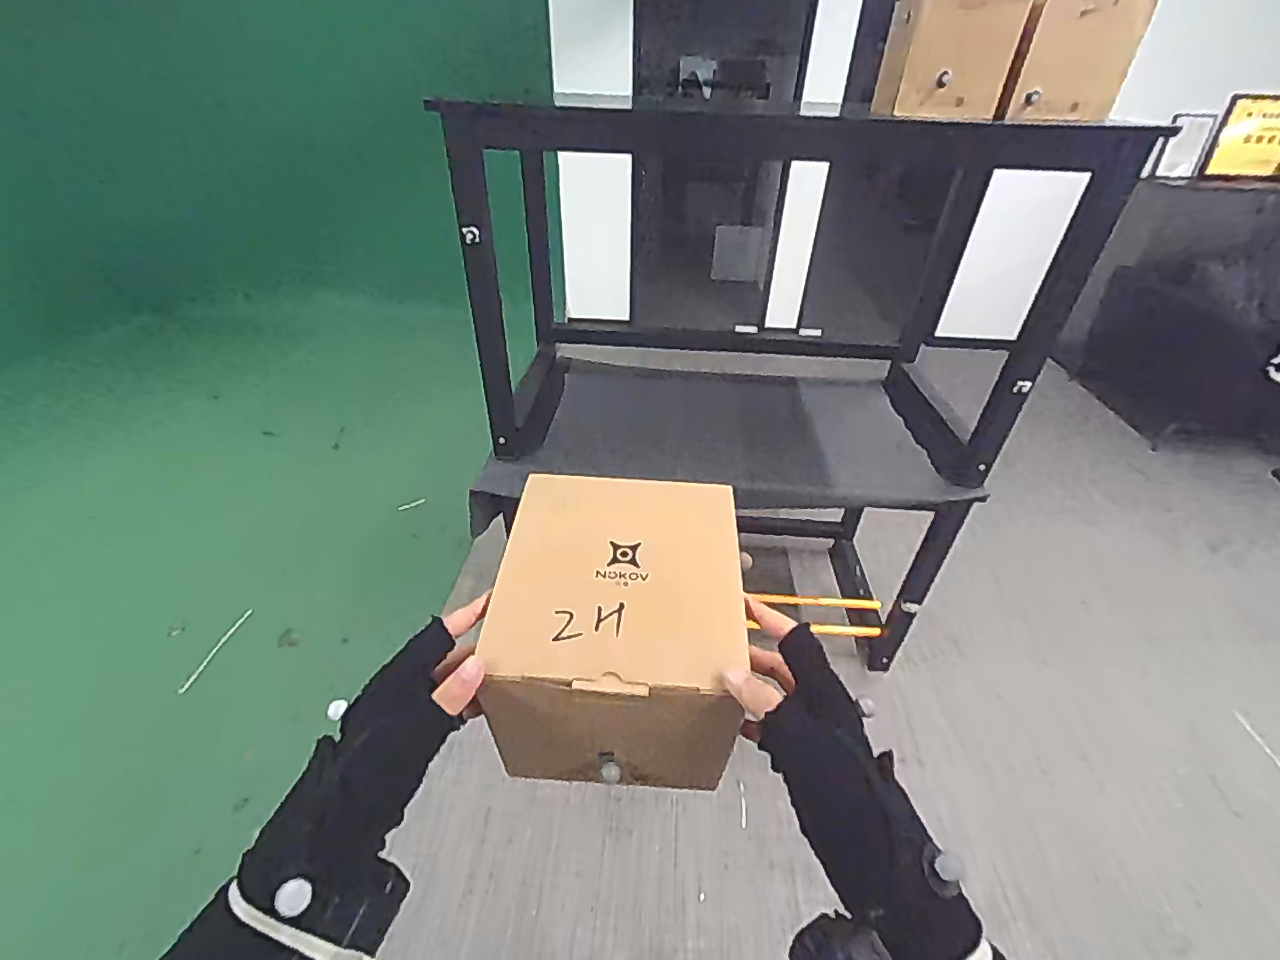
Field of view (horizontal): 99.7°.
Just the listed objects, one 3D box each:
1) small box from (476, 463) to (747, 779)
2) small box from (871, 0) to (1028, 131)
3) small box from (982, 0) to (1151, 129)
[{"bbox_3d":[-0.015,0.109,0.432,0.168,0.176,0.179,3,42,2],"label":"small box"},{"bbox_3d":[0.524,-0.724,0.950,0.168,0.176,0.179,6,37,5],"label":"small box"},{"bbox_3d":[0.705,-0.713,0.938,0.168,0.176,0.179,5,35,5],"label":"small box"}]
